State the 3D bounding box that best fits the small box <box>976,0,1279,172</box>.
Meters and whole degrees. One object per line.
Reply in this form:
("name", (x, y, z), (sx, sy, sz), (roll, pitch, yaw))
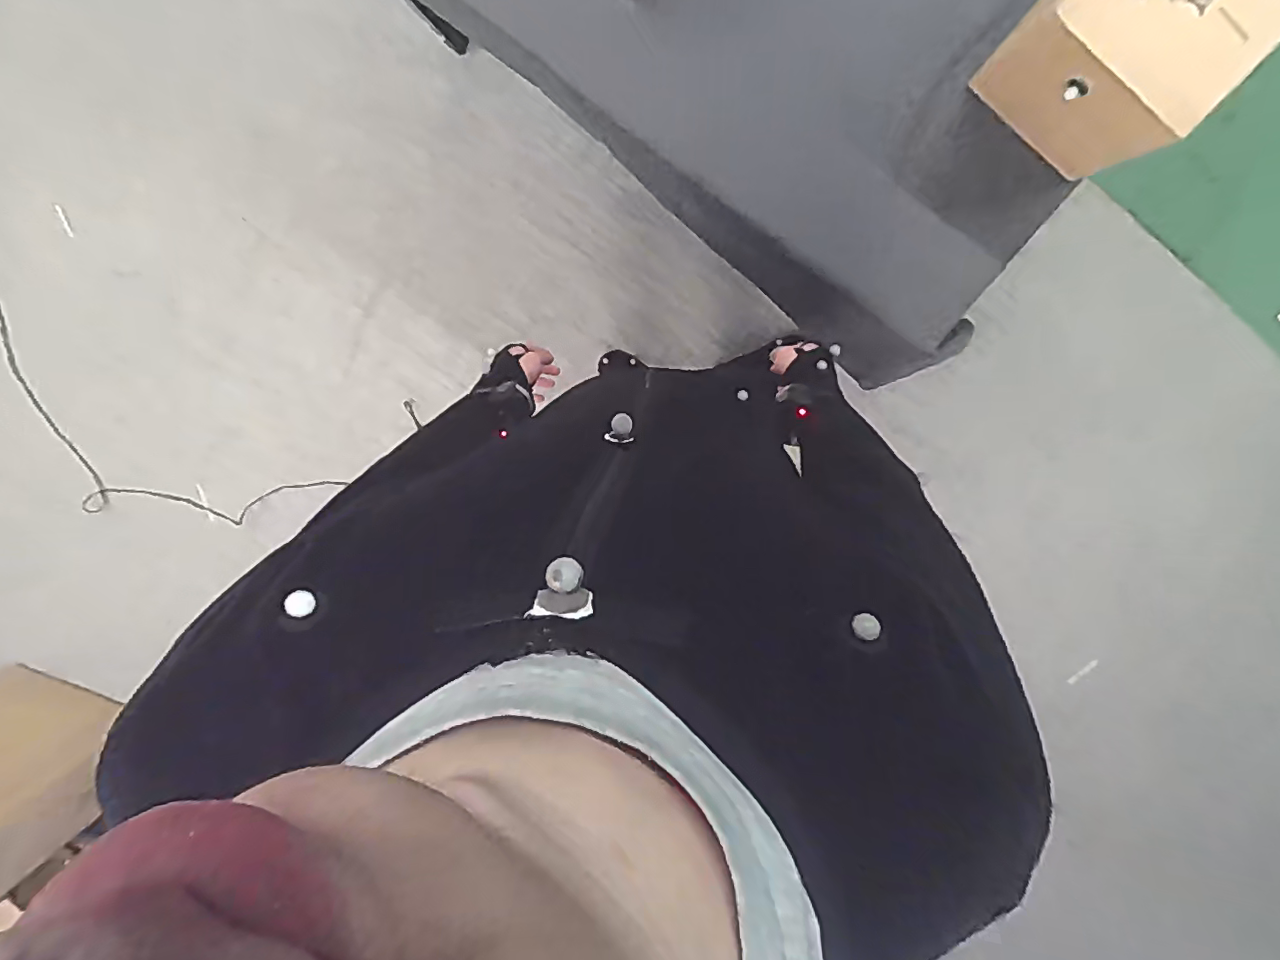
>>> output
("small box", (0.499, -0.456, 0.556), (0.179, 0.176, 0.168), (37, 105, -7))
